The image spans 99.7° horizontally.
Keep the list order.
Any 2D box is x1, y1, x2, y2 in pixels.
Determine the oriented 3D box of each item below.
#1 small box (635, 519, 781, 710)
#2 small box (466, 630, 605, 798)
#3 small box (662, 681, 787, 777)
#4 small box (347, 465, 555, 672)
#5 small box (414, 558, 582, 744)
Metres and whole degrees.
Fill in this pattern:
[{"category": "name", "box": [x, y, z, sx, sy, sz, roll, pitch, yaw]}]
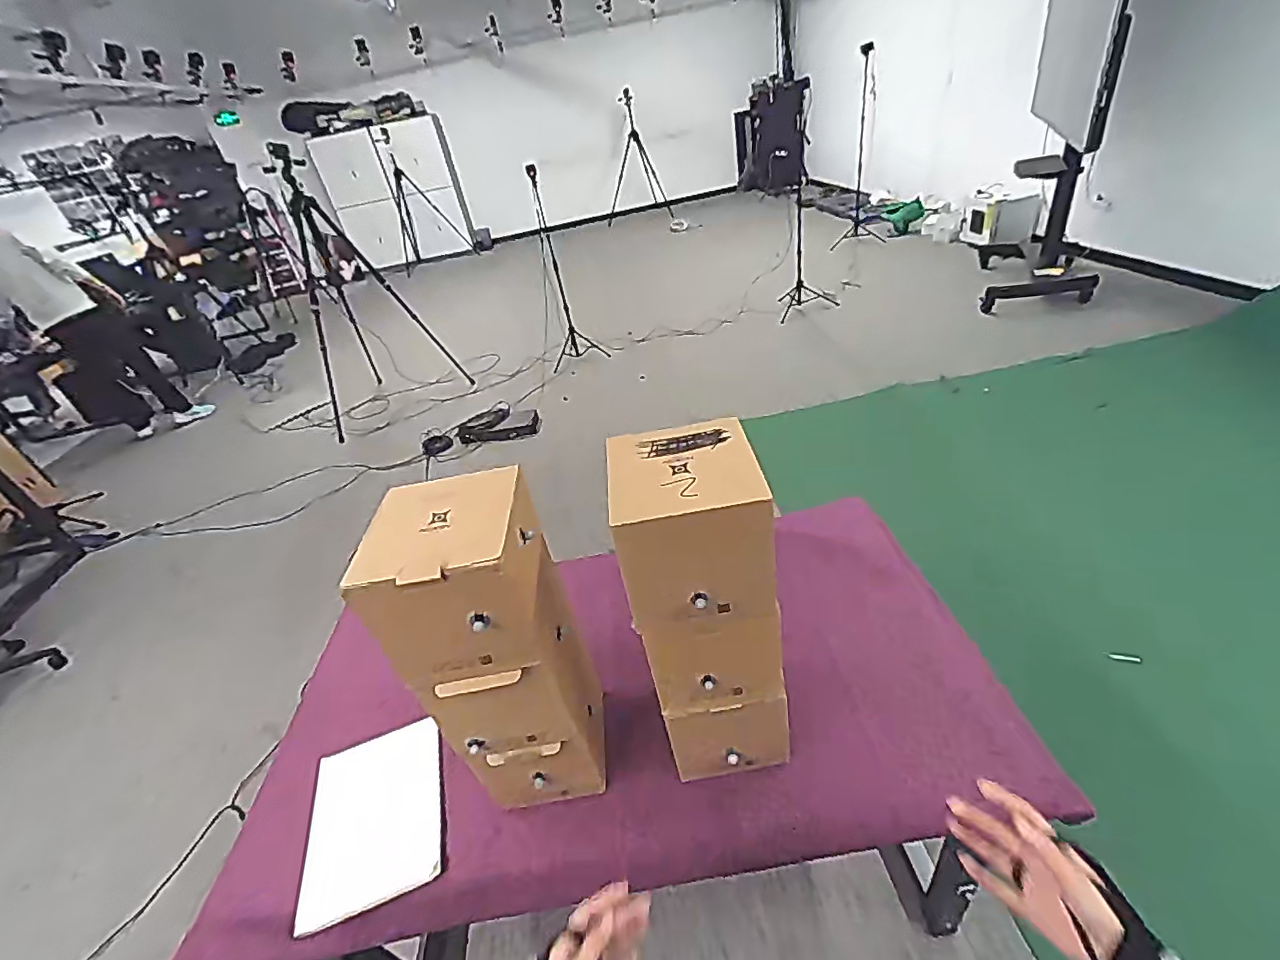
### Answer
[{"category": "small box", "box": [0.090, 0.182, 0.744, 0.168, 0.176, 0.179, -11, 34, 2]}, {"category": "small box", "box": [-0.150, 0.368, 0.842, 0.168, 0.176, 0.179, -10, 35, 1]}, {"category": "small box", "box": [0.120, 0.317, 0.829, 0.168, 0.176, 0.179, -12, 34, 2]}, {"category": "small box", "box": [-0.205, 0.109, 0.647, 0.168, 0.176, 0.179, -10, 34, 2]}, {"category": "small box", "box": [-0.178, 0.238, 0.743, 0.168, 0.176, 0.179, -11, 34, 2]}]
